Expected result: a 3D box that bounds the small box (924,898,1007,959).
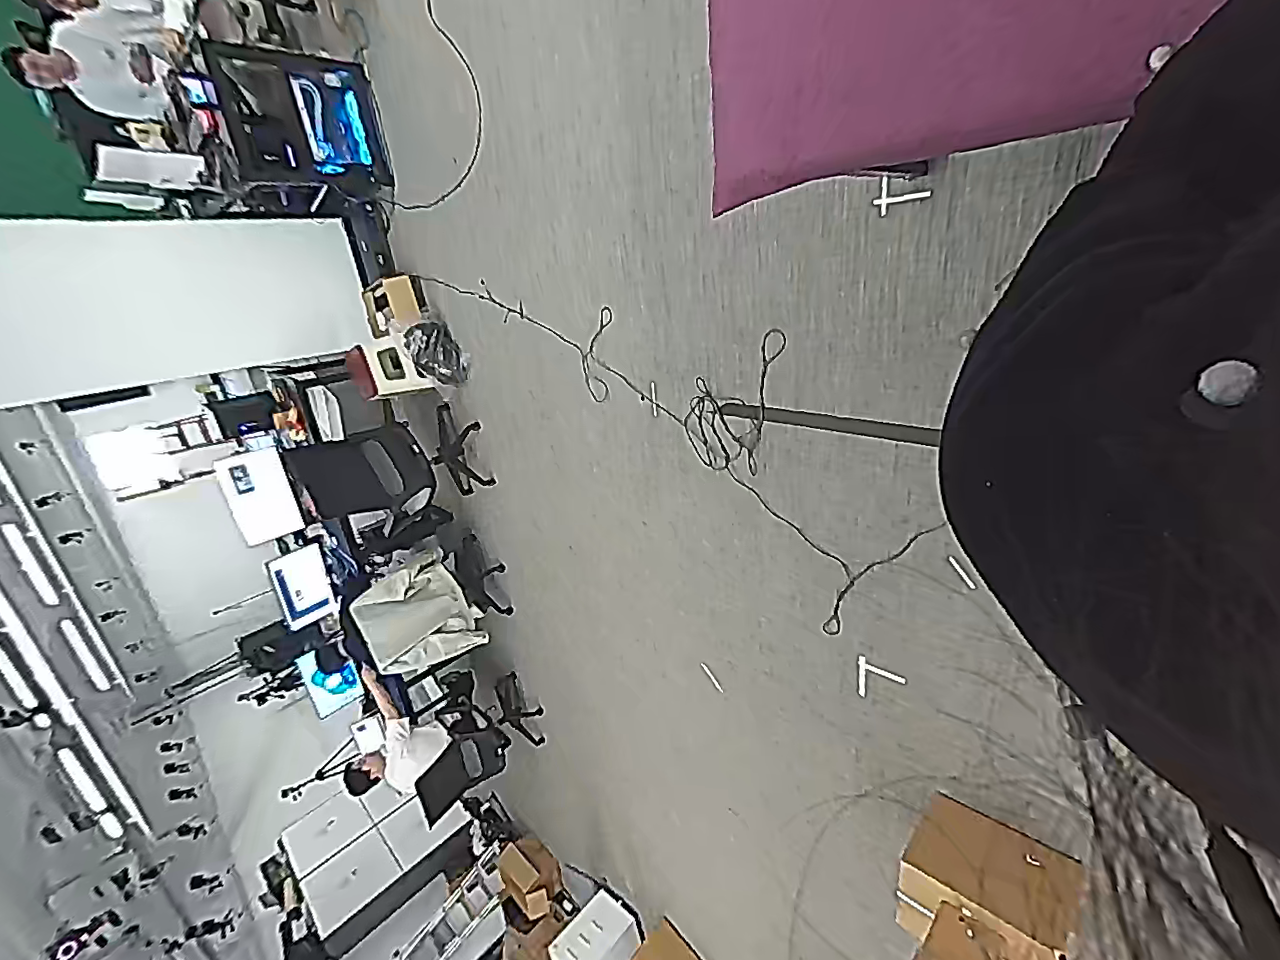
[{"bbox_3d":[0.909,1.344,1.516,0.168,0.176,0.179,11,117,44],"label":"small box"}]
